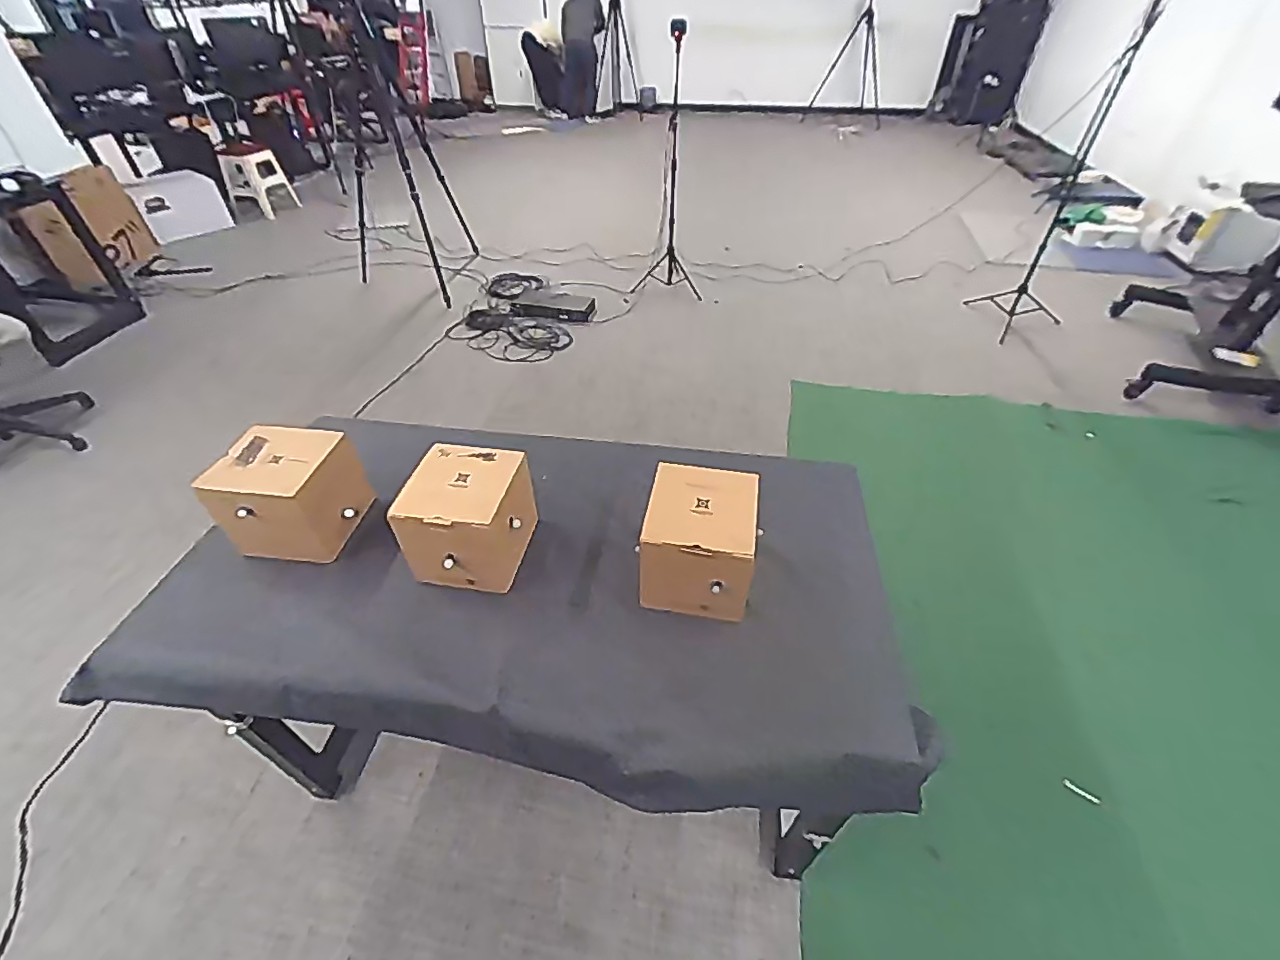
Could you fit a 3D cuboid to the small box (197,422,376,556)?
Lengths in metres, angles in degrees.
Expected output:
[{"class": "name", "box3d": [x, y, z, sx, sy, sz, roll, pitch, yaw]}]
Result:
[{"class": "small box", "box3d": [-0.610, 0.018, 0.960, 0.179, 0.176, 0.168, 5, 44, 4]}]

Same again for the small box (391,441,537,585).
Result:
[{"class": "small box", "box3d": [-0.283, 0.058, 0.919, 0.168, 0.176, 0.179, 6, 44, 7]}]

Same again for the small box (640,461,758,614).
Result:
[{"class": "small box", "box3d": [0.096, 0.095, 0.880, 0.168, 0.176, 0.179, 8, 42, 7]}]
